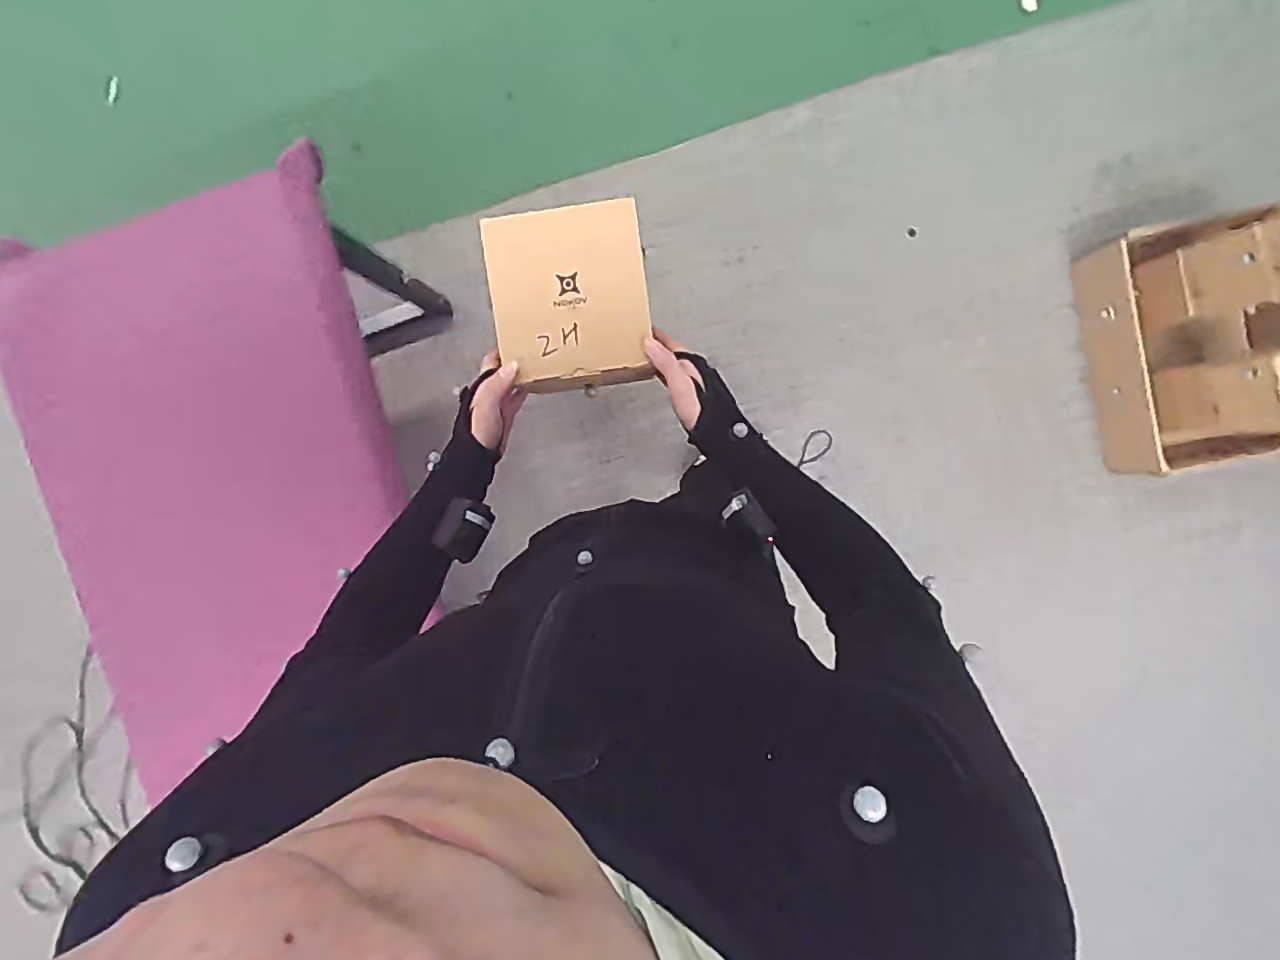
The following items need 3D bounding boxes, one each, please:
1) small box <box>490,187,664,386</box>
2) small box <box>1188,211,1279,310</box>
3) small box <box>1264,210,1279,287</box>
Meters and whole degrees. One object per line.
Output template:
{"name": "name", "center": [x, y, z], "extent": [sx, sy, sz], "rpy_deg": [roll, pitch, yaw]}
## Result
{"name": "small box", "center": [-0.064, -0.212, 0.636], "extent": [0.168, 0.176, 0.179], "rpy_deg": [-6, 96, 2]}
{"name": "small box", "center": [1.389, -0.493, 1.192], "extent": [0.179, 0.176, 0.168], "rpy_deg": [-15, 91, 3]}
{"name": "small box", "center": [1.381, -0.485, 1.030], "extent": [0.179, 0.176, 0.168], "rpy_deg": [-16, 92, 5]}
